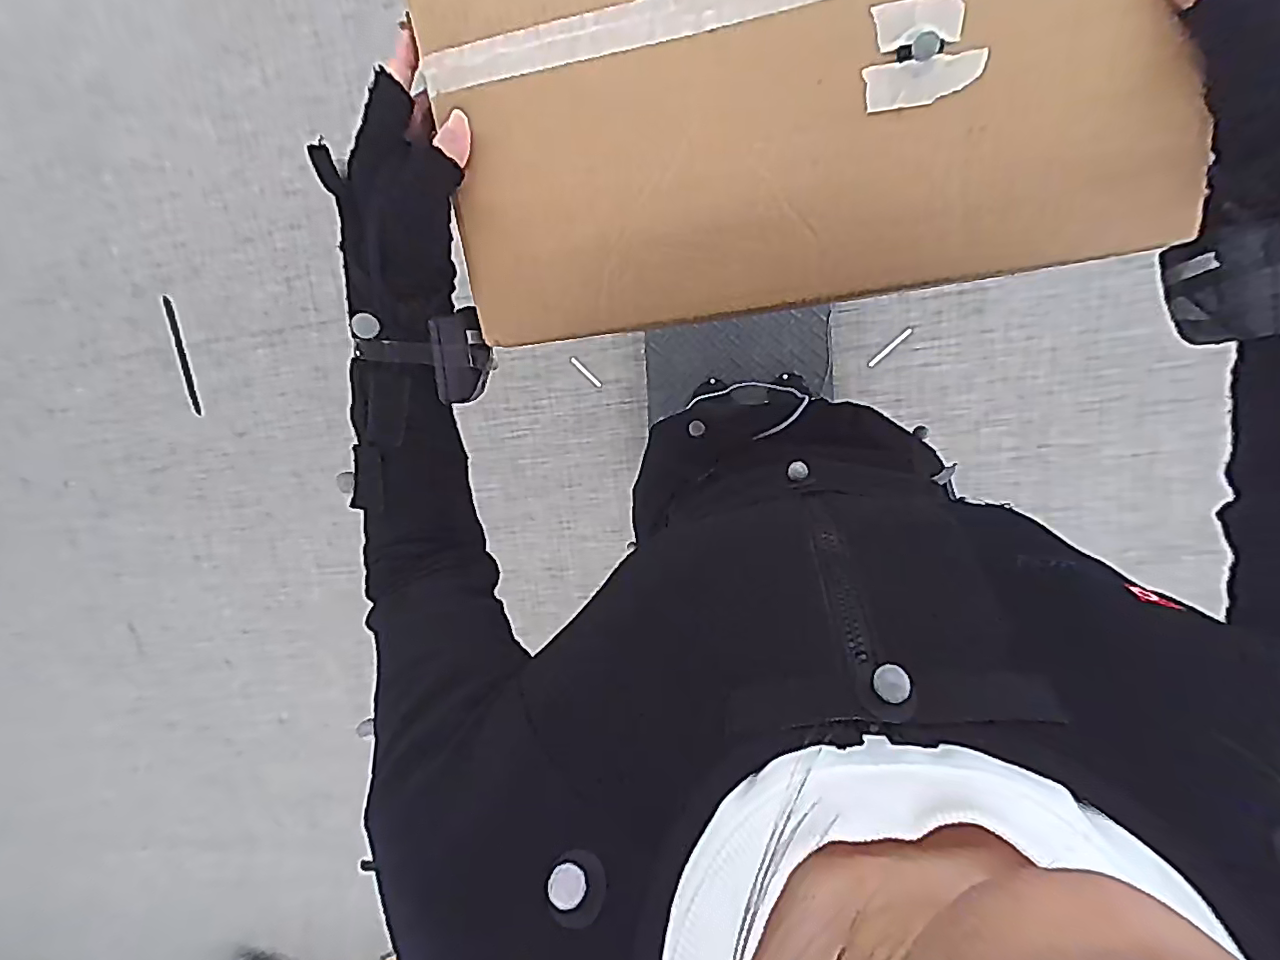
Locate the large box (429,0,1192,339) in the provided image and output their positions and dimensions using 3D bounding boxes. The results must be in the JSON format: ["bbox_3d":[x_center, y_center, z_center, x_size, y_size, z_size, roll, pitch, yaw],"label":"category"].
[{"bbox_3d":[0.094,-0.305,0.436,0.408,0.320,0.320,-6,106,9],"label":"large box"}]
